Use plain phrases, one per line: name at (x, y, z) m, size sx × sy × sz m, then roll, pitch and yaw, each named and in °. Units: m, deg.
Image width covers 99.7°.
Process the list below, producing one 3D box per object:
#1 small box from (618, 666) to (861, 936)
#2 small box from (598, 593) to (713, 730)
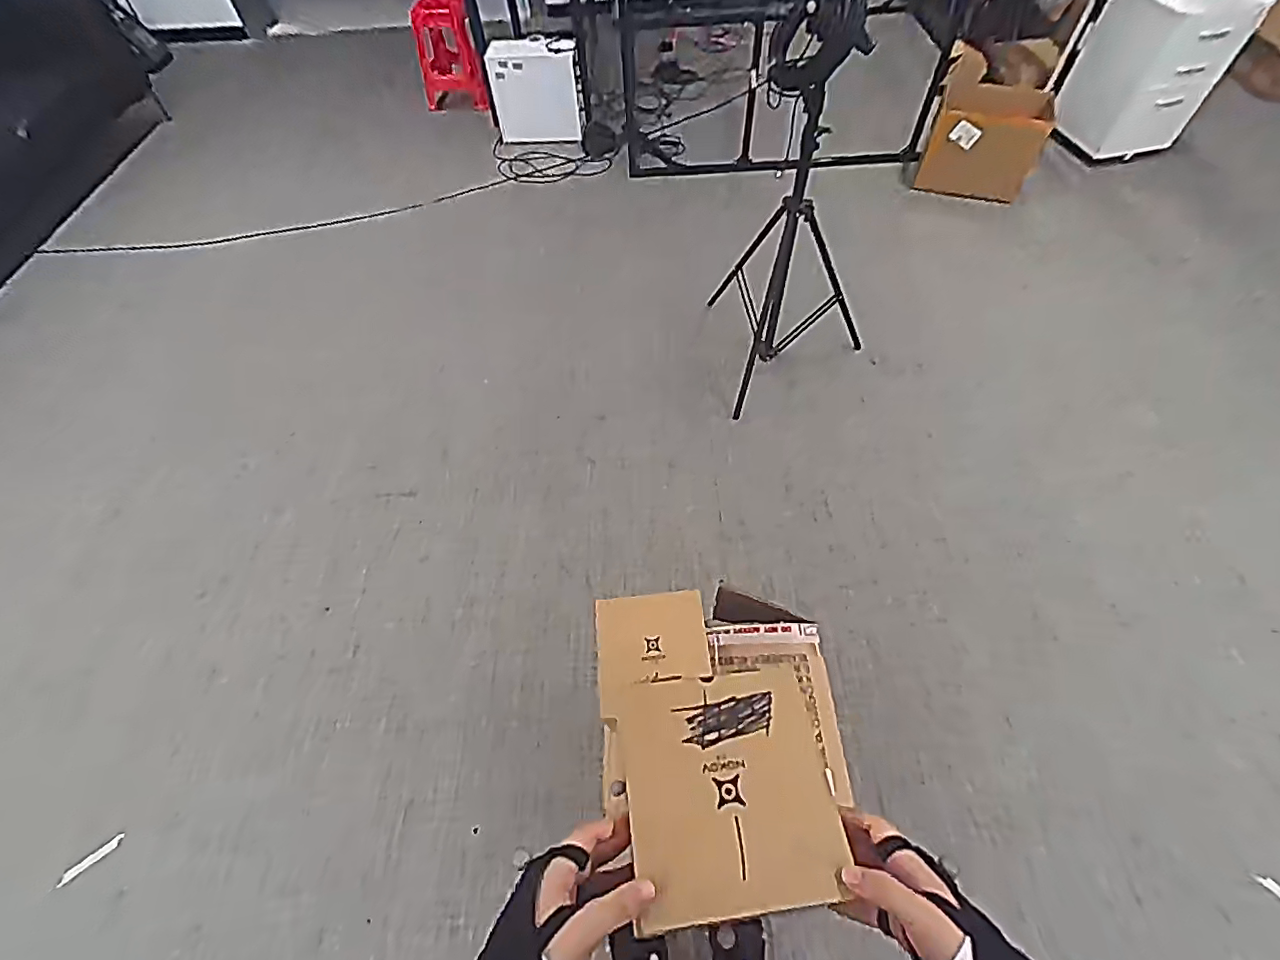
small box at (0.068, 0.295, 0.498) m, size 0.168 × 0.176 × 0.179 m, roll -5°, pitch 50°, yaw -5°
small box at (0.027, 0.297, 0.862) m, size 0.168 × 0.176 × 0.179 m, roll -7°, pitch 59°, yaw 2°
